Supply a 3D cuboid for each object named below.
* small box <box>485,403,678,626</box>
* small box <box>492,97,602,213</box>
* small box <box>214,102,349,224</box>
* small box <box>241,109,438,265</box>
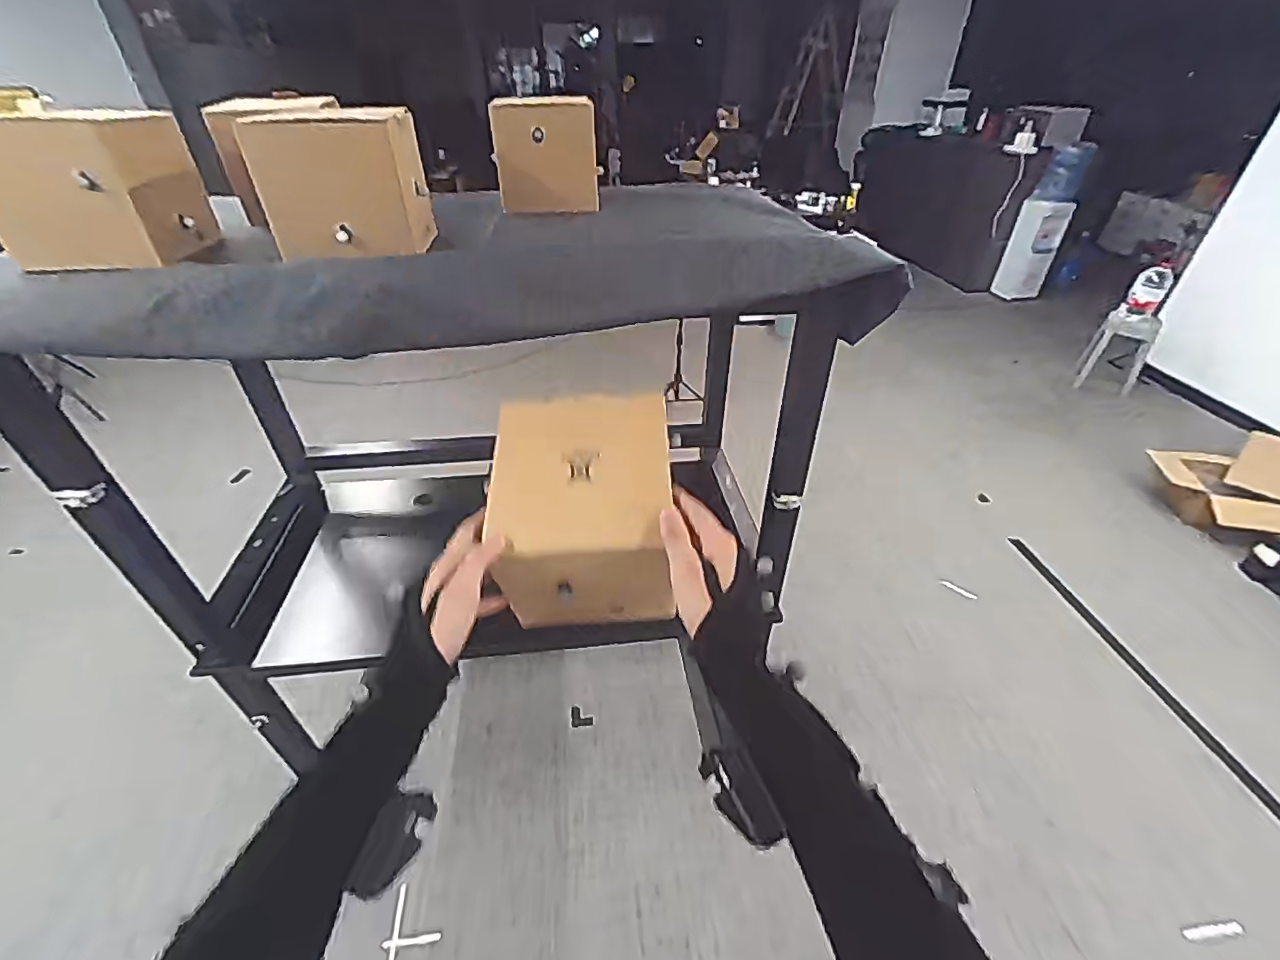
[{"bbox_3d":[-0.048,0.044,0.565,0.168,0.176,0.179,-4,53,1],"label":"small box"},{"bbox_3d":[-0.165,-0.606,1.009,0.179,0.176,0.168,-4,39,-5],"label":"small box"},{"bbox_3d":[-0.593,-0.560,0.953,0.168,0.176,0.179,-9,39,-10],"label":"small box"},{"bbox_3d":[-0.396,-0.408,0.755,0.179,0.176,0.168,-4,37,-6],"label":"small box"}]
